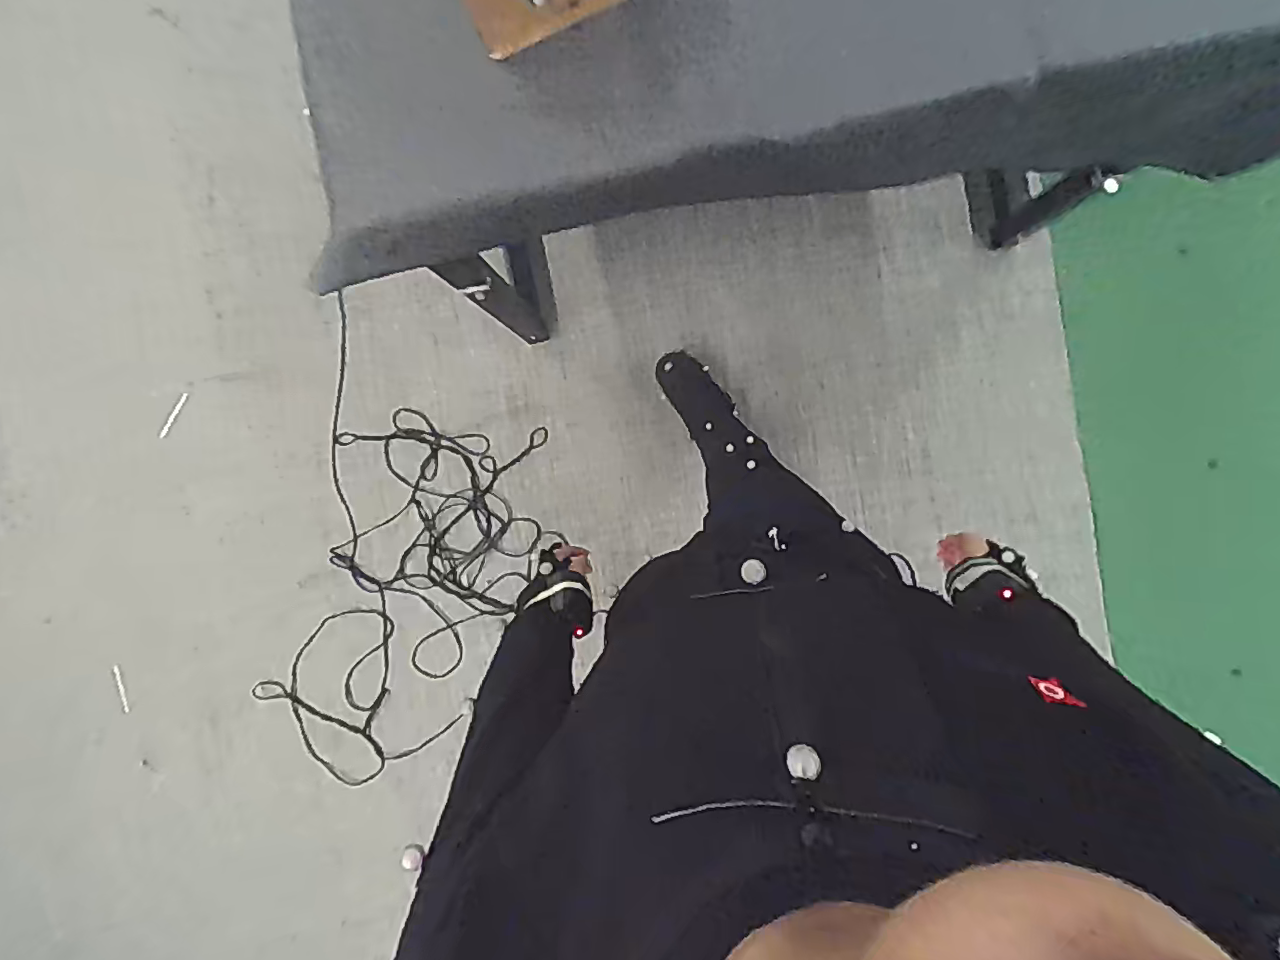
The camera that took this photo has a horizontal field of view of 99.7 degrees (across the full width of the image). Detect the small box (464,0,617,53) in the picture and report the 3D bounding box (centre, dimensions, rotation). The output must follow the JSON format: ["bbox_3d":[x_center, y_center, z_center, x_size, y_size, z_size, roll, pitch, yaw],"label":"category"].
[{"bbox_3d":[-0.124,-0.570,0.509,0.168,0.176,0.179,-22,91,3],"label":"small box"}]
